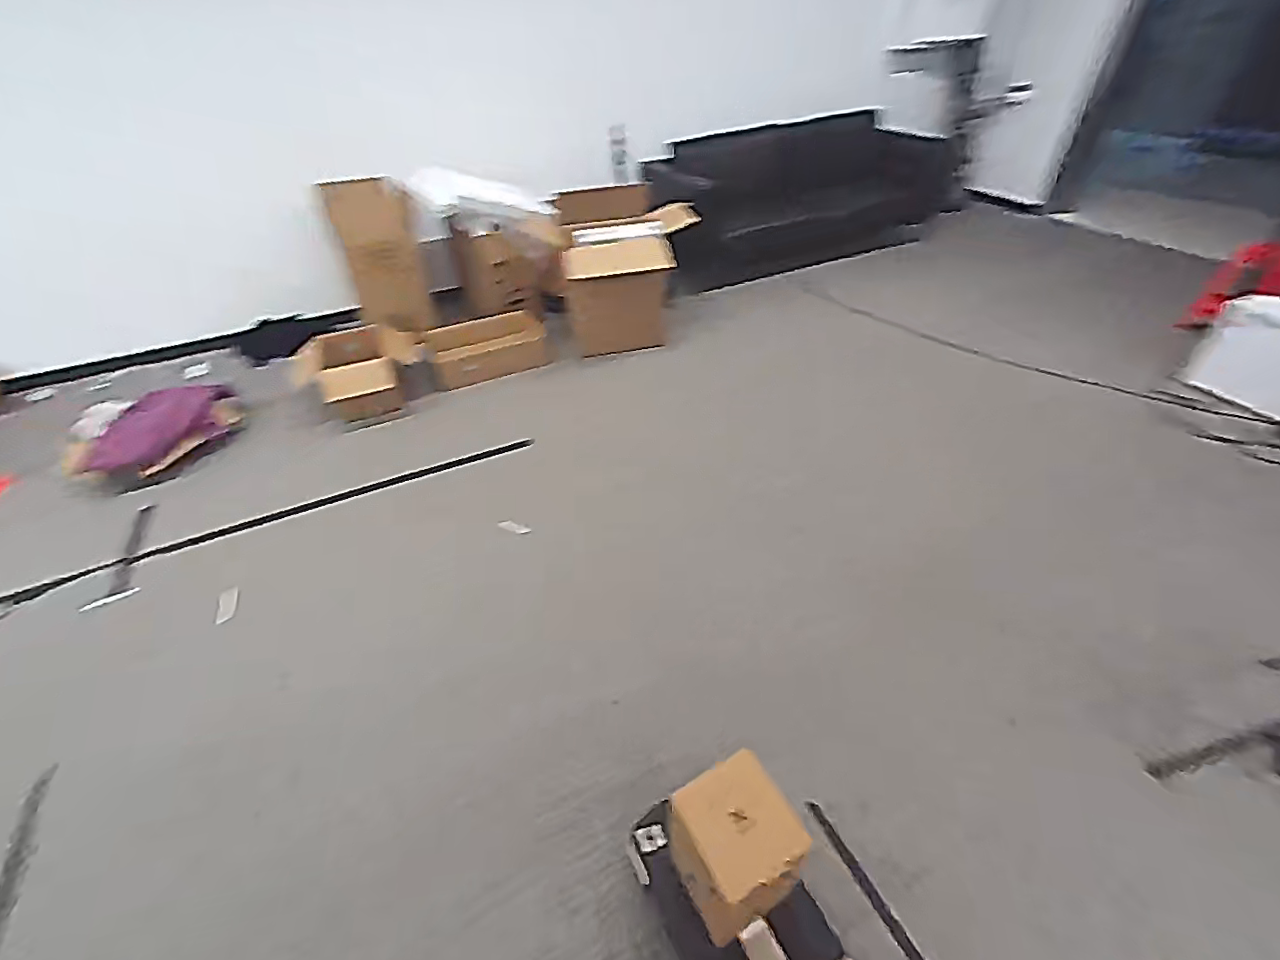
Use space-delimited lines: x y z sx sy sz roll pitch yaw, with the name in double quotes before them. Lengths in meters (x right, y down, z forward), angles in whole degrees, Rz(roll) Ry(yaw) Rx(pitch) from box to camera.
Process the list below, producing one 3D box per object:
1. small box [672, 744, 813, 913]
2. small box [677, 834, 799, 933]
"small box" 0.169 0.609 0.940 0.168 0.176 0.179 -21 44 -21
"small box" 0.177 0.732 1.047 0.168 0.176 0.179 -21 44 -19
